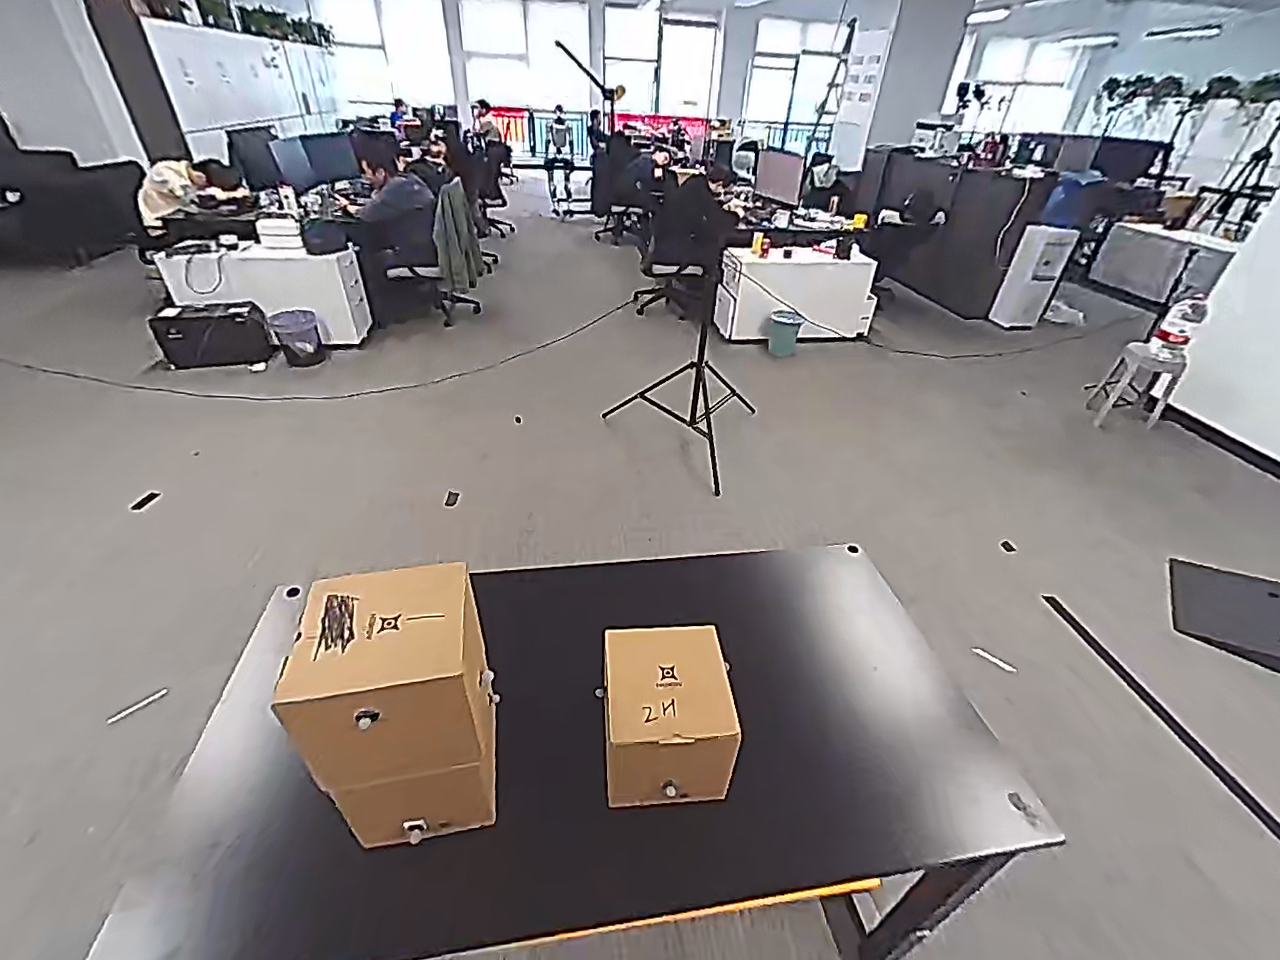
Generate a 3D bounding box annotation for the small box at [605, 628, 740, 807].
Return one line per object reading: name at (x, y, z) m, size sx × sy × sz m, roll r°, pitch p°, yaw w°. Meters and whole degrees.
small box at (0.034, 0.337, 0.779) m, size 0.168 × 0.176 × 0.179 m, roll -1°, pitch 36°, yaw -5°

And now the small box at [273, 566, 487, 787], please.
small box at (-0.280, 0.227, 0.631) m, size 0.179 × 0.176 × 0.168 m, roll -6°, pitch 36°, yaw -12°

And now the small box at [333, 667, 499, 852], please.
small box at (-0.285, 0.358, 0.730) m, size 0.168 × 0.176 × 0.179 m, roll -7°, pitch 38°, yaw -11°
